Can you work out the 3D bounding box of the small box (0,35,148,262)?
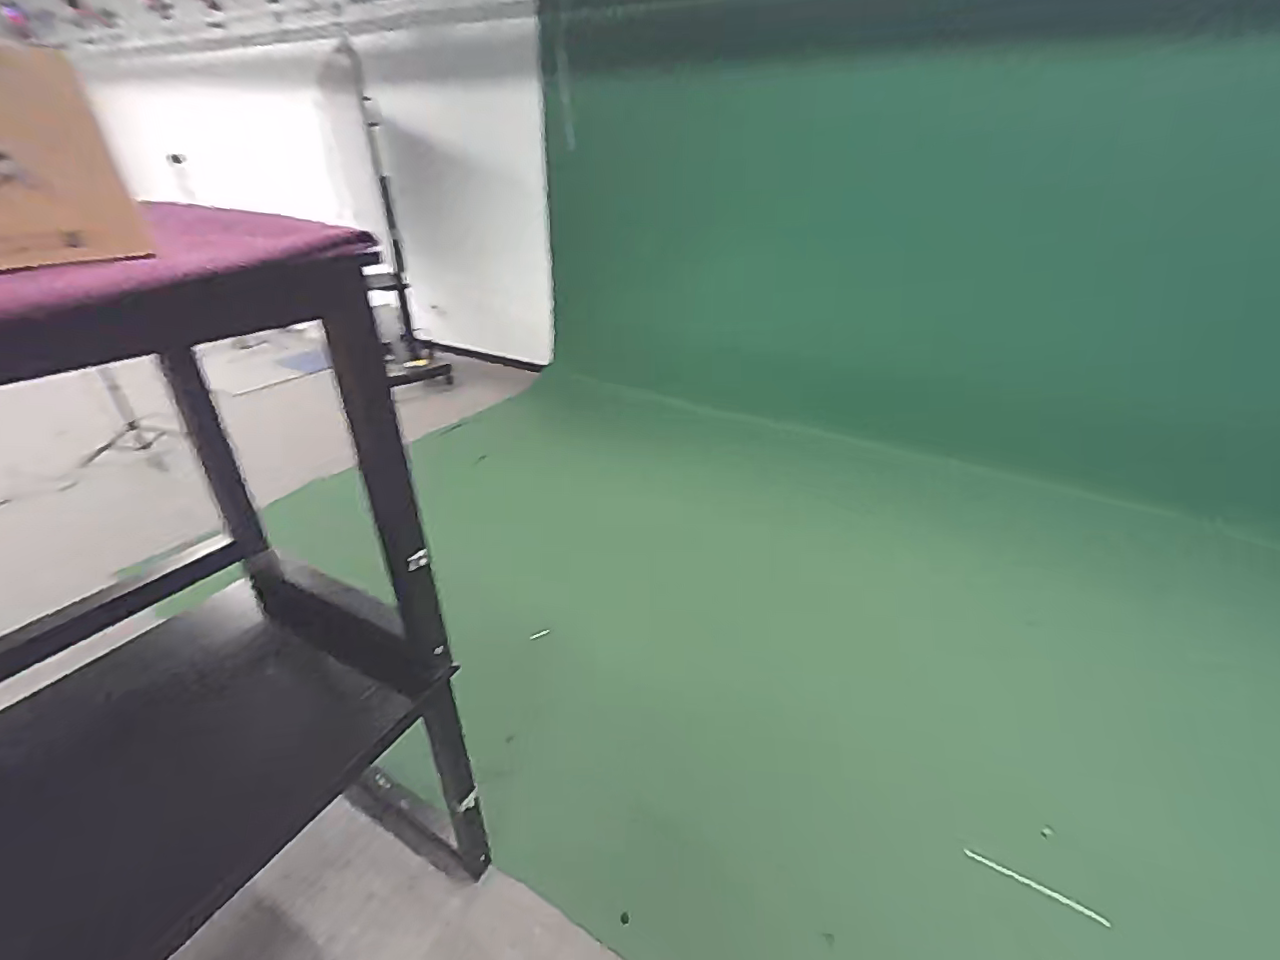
[{"bbox_3d":[-0.602,-0.291,0.490,0.179,0.176,0.168,19,36,31],"label":"small box"}]
